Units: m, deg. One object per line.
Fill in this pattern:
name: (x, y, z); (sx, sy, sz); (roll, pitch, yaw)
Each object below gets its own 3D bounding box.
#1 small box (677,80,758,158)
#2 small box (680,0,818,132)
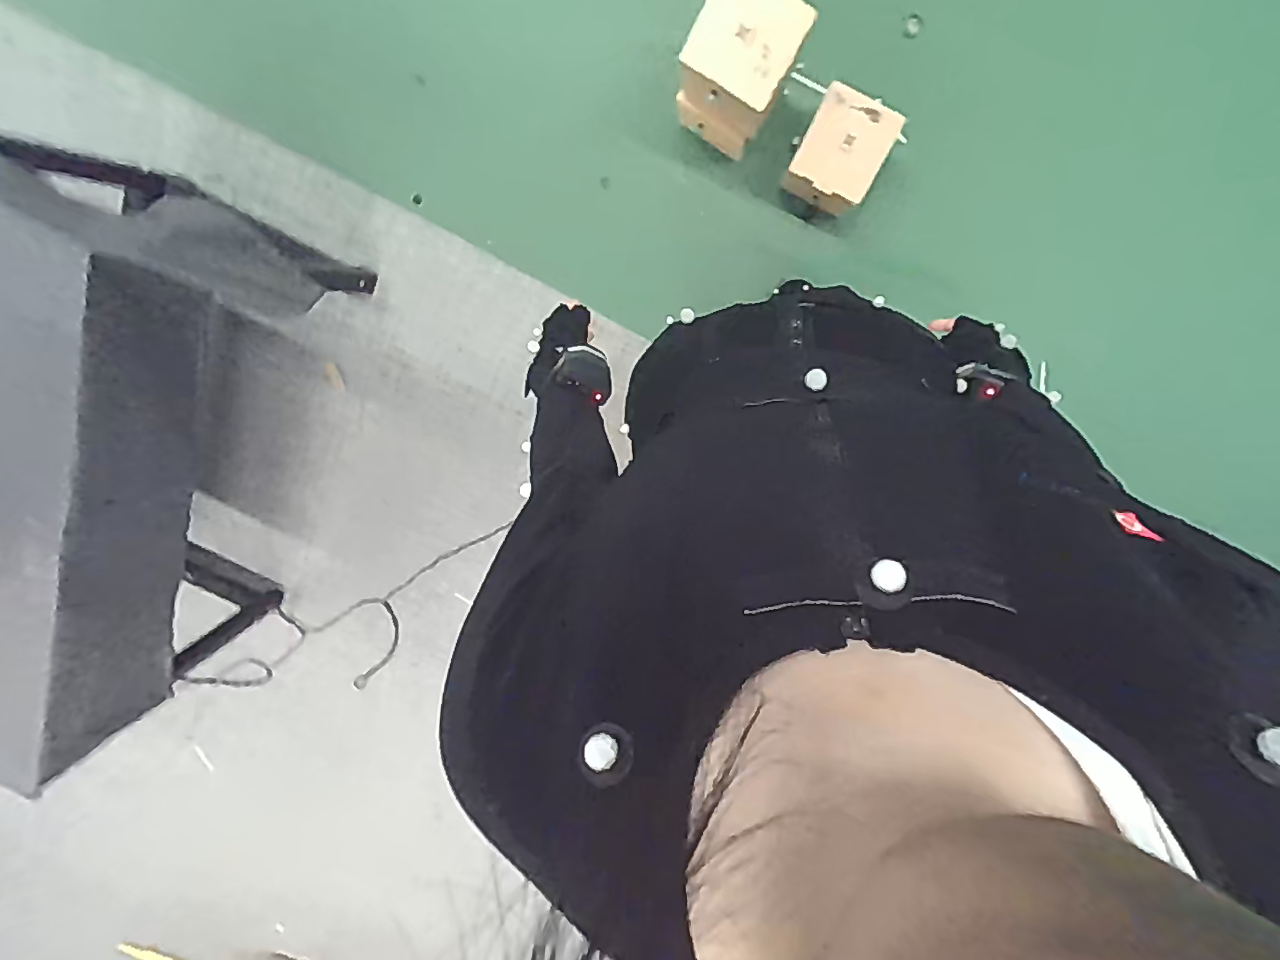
small box: (0.197, -0.826, 1.149); (0.168, 0.176, 0.179); (32, 108, -4)
small box: (0.191, -0.780, 0.990); (0.179, 0.176, 0.168); (32, 109, -3)
